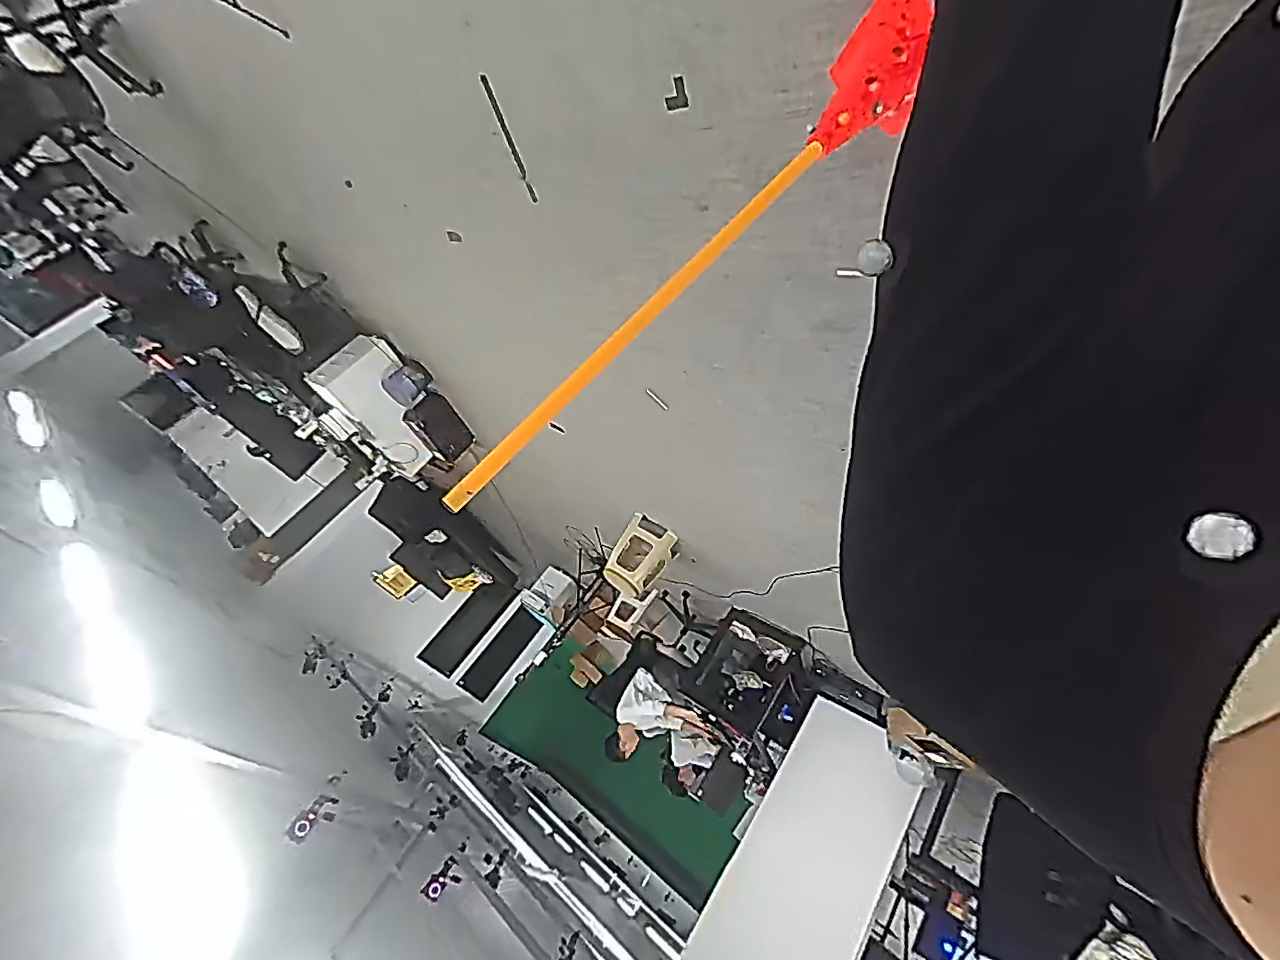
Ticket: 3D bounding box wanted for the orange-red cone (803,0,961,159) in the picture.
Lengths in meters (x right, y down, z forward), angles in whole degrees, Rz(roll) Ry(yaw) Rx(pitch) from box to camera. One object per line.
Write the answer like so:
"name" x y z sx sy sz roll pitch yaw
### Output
"orange-red cone" 0.387 -0.684 0.977 0.198 0.360 0.199 40 155 -6
